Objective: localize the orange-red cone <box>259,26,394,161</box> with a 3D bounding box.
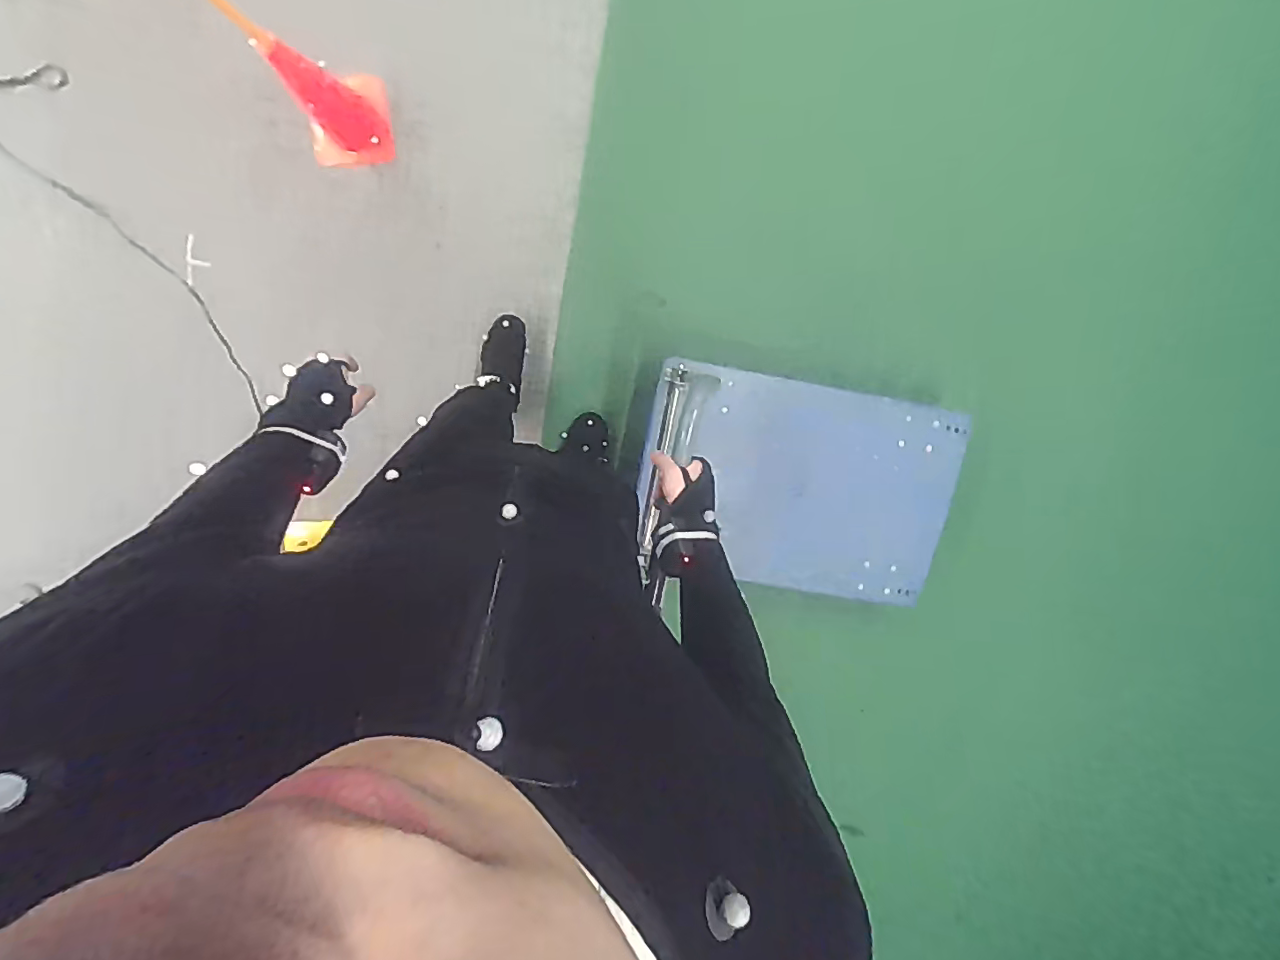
[{"bbox_3d":[-0.731,-0.896,1.218,0.198,0.360,0.199,-4,101,-3],"label":"orange-red cone"}]
